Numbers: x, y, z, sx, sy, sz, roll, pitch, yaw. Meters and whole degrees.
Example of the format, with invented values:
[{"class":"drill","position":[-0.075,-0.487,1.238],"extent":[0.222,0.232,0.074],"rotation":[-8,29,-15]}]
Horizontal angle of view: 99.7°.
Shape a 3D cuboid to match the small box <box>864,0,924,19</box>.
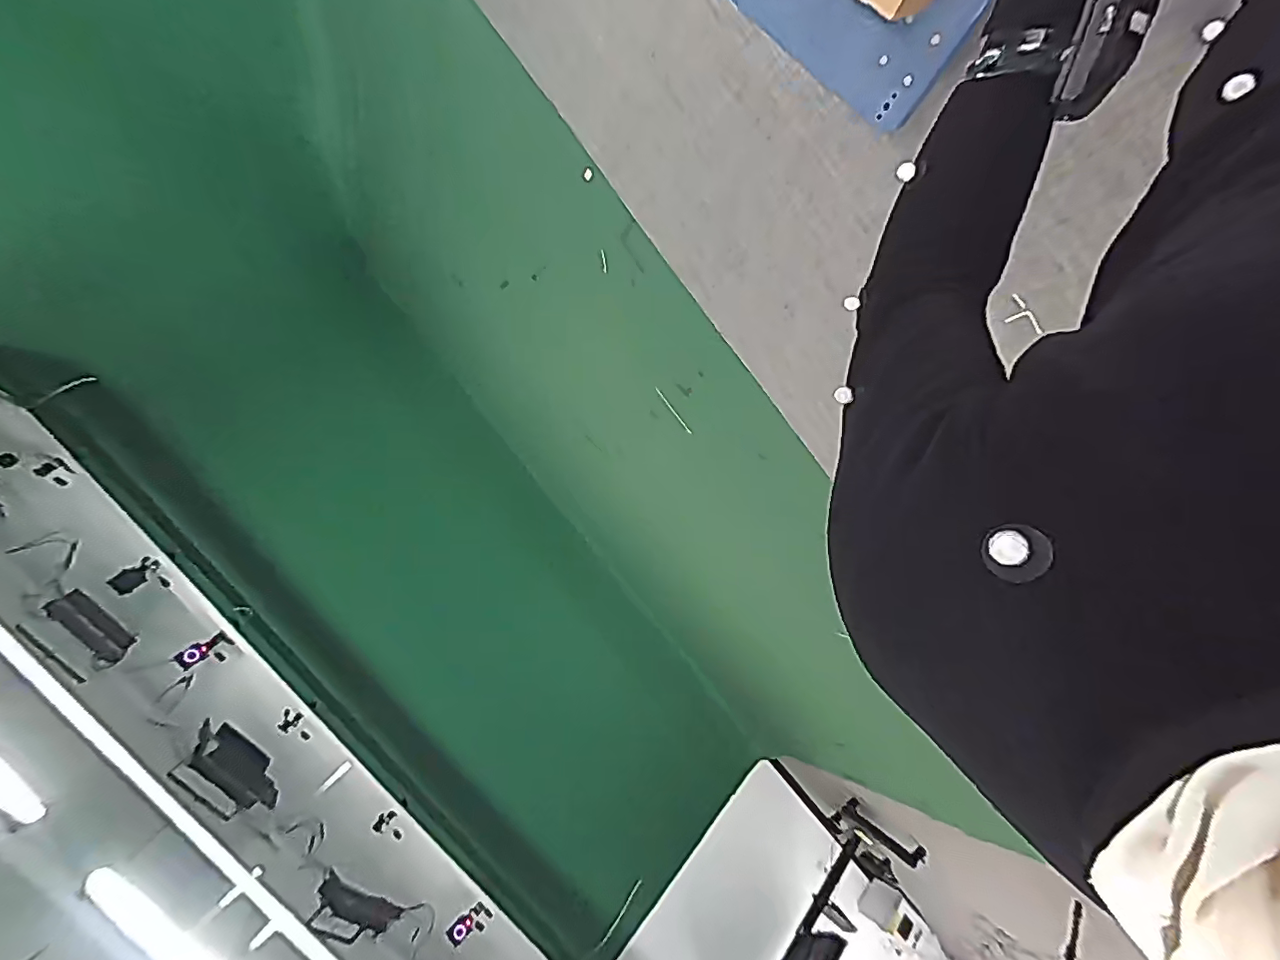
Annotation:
[{"class":"small box","position":[0.472,-0.979,0.957],"extent":[0.168,0.176,0.179],"rotation":[45,154,9]}]
